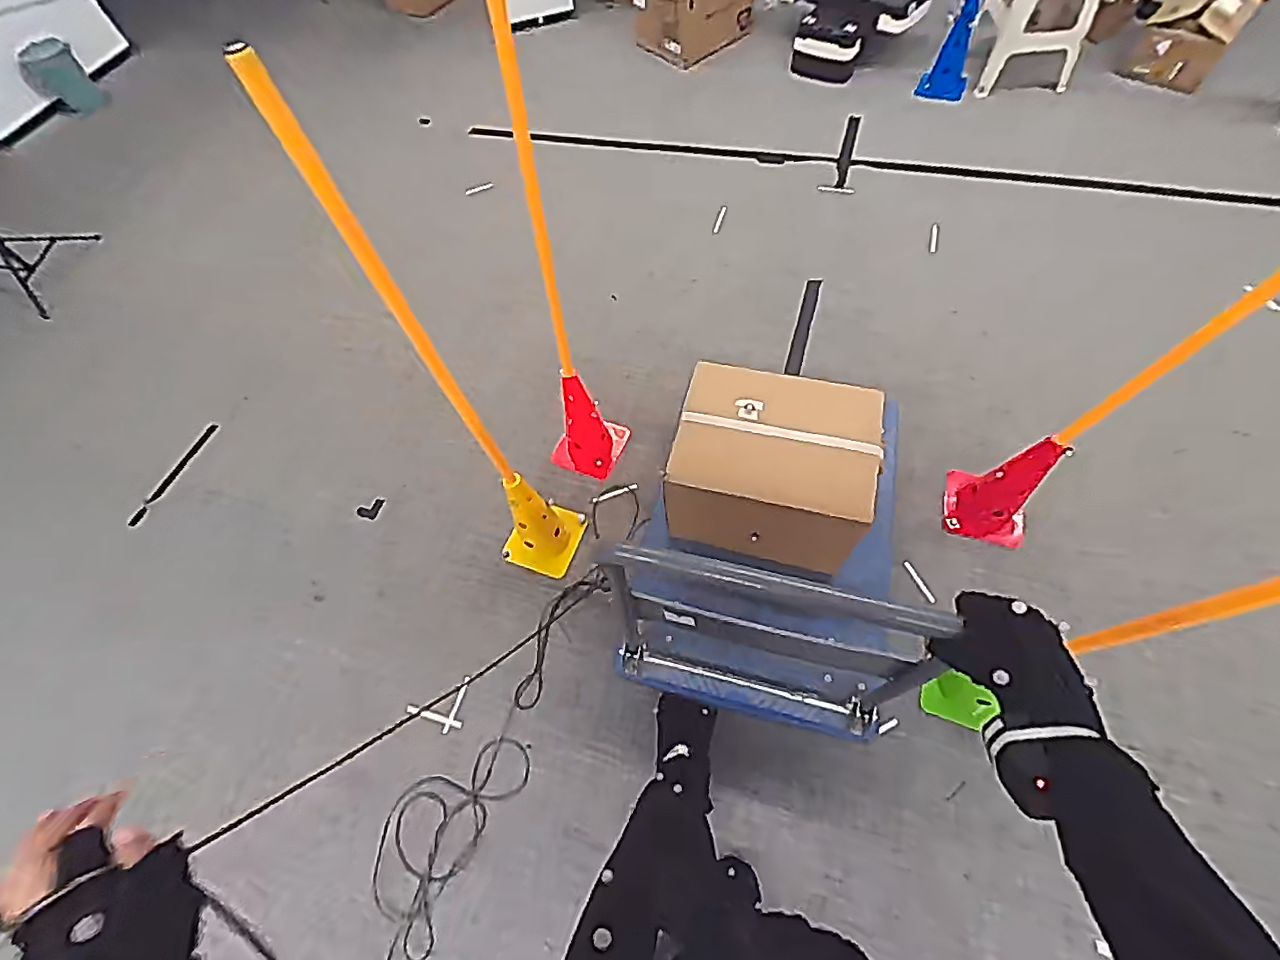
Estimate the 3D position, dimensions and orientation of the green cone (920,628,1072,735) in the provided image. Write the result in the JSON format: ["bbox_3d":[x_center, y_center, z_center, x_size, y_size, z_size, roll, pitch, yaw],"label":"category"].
[{"bbox_3d":[0.768,0.393,1.136,0.202,0.368,0.200,17,64,13],"label":"green cone"}]

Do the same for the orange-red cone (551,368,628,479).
[{"bbox_3d":[-0.169,-0.192,1.548,0.198,0.360,0.199,21,64,15],"label":"orange-red cone"}]

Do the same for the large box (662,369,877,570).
[{"bbox_3d":[0.288,-0.015,1.244,0.408,0.320,0.320,12,64,12],"label":"large box"}]

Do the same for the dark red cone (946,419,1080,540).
[{"bbox_3d":[0.931,-0.022,1.327,0.201,0.394,0.202,14,64,11],"label":"dark red cone"}]
